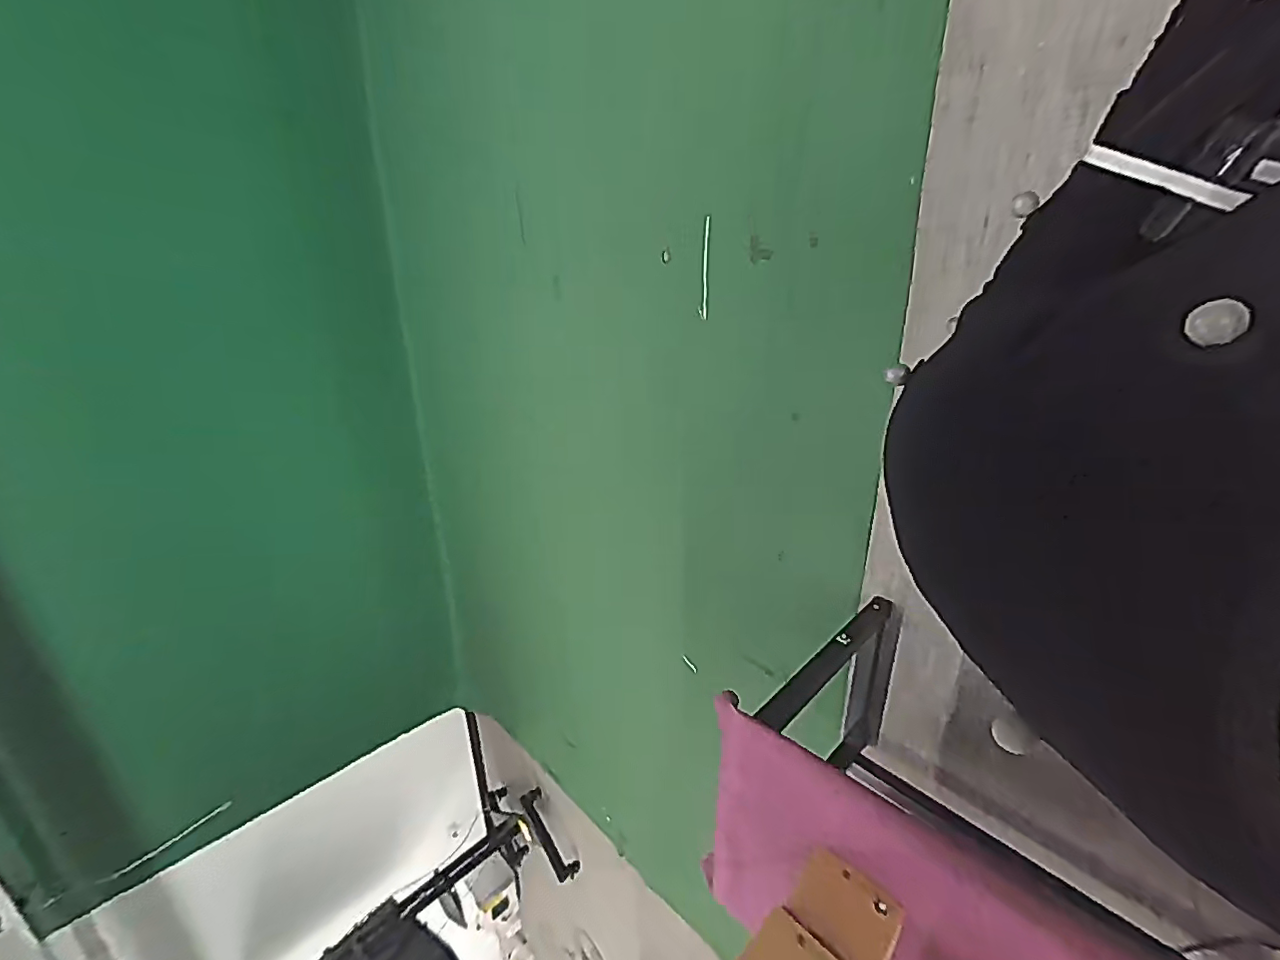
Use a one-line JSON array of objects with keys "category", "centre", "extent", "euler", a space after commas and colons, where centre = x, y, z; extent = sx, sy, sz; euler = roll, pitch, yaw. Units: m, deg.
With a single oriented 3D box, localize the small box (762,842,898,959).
[{"category": "small box", "centre": [0.353, 0.831, 1.002], "extent": [0.168, 0.176, 0.179], "euler": [27, 124, 40]}]
